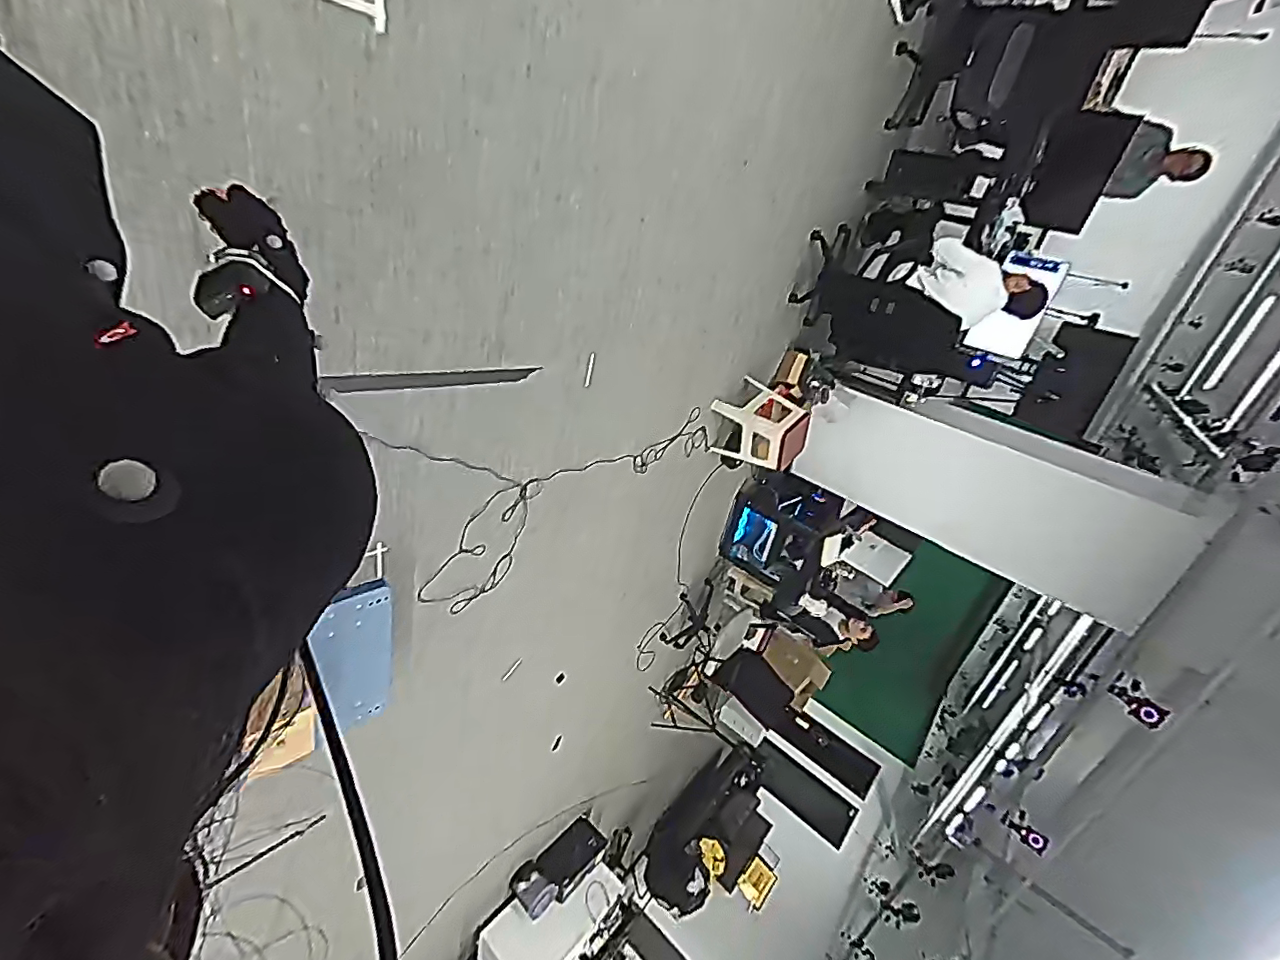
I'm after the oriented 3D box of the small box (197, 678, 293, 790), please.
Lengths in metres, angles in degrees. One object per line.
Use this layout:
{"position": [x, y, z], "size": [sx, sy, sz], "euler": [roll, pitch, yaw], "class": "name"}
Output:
{"position": [-1.063, 0.675, 1.456], "size": [0.168, 0.176, 0.179], "euler": [-16, 129, -51], "class": "small box"}
